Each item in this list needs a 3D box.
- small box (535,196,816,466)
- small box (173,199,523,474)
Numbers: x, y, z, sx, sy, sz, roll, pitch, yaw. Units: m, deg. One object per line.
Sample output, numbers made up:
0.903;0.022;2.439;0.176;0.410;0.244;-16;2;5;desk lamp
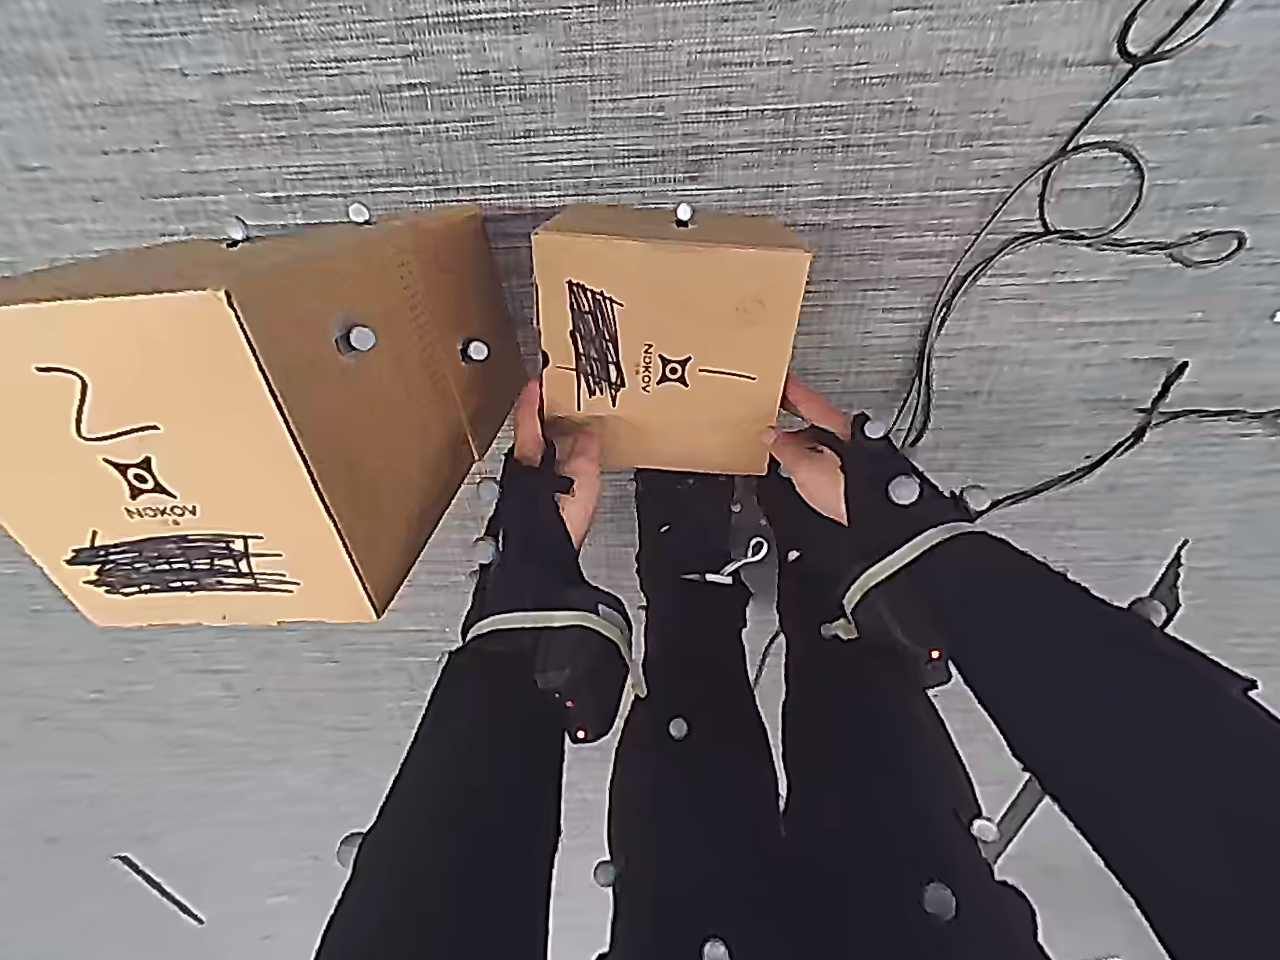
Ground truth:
0.020;-0.129;0.440;0.179;0.176;0.168;4;123;0;small box
-0.213;-0.128;0.456;0.168;0.176;0.179;-6;122;7;small box
